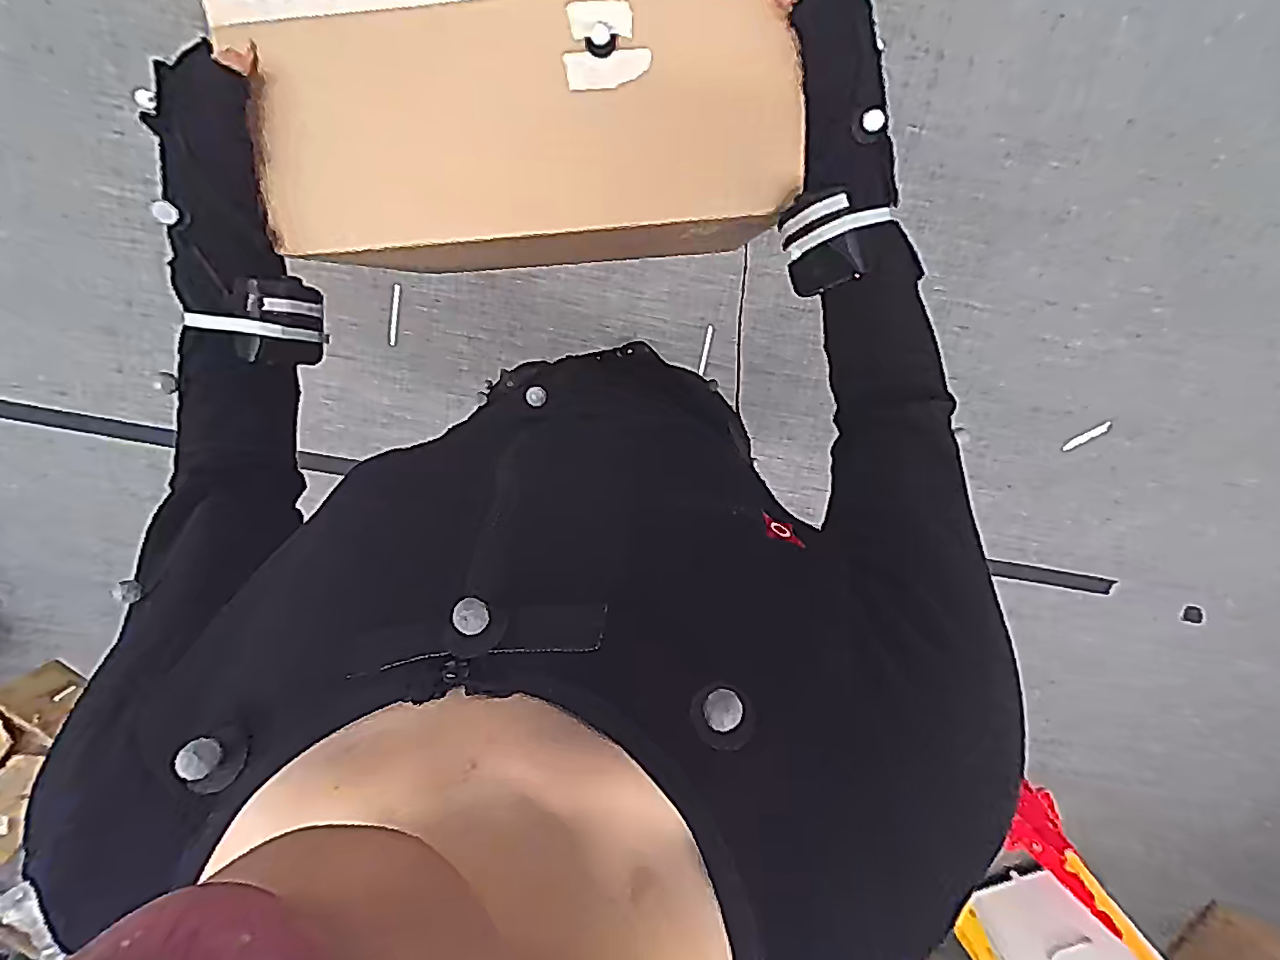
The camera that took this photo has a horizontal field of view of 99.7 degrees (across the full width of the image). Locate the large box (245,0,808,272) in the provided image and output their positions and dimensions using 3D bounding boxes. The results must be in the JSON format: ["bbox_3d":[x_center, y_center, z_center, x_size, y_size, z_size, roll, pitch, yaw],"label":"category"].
[{"bbox_3d":[-0.081,-0.390,0.517,0.408,0.320,0.320,-3,108,2],"label":"large box"}]
